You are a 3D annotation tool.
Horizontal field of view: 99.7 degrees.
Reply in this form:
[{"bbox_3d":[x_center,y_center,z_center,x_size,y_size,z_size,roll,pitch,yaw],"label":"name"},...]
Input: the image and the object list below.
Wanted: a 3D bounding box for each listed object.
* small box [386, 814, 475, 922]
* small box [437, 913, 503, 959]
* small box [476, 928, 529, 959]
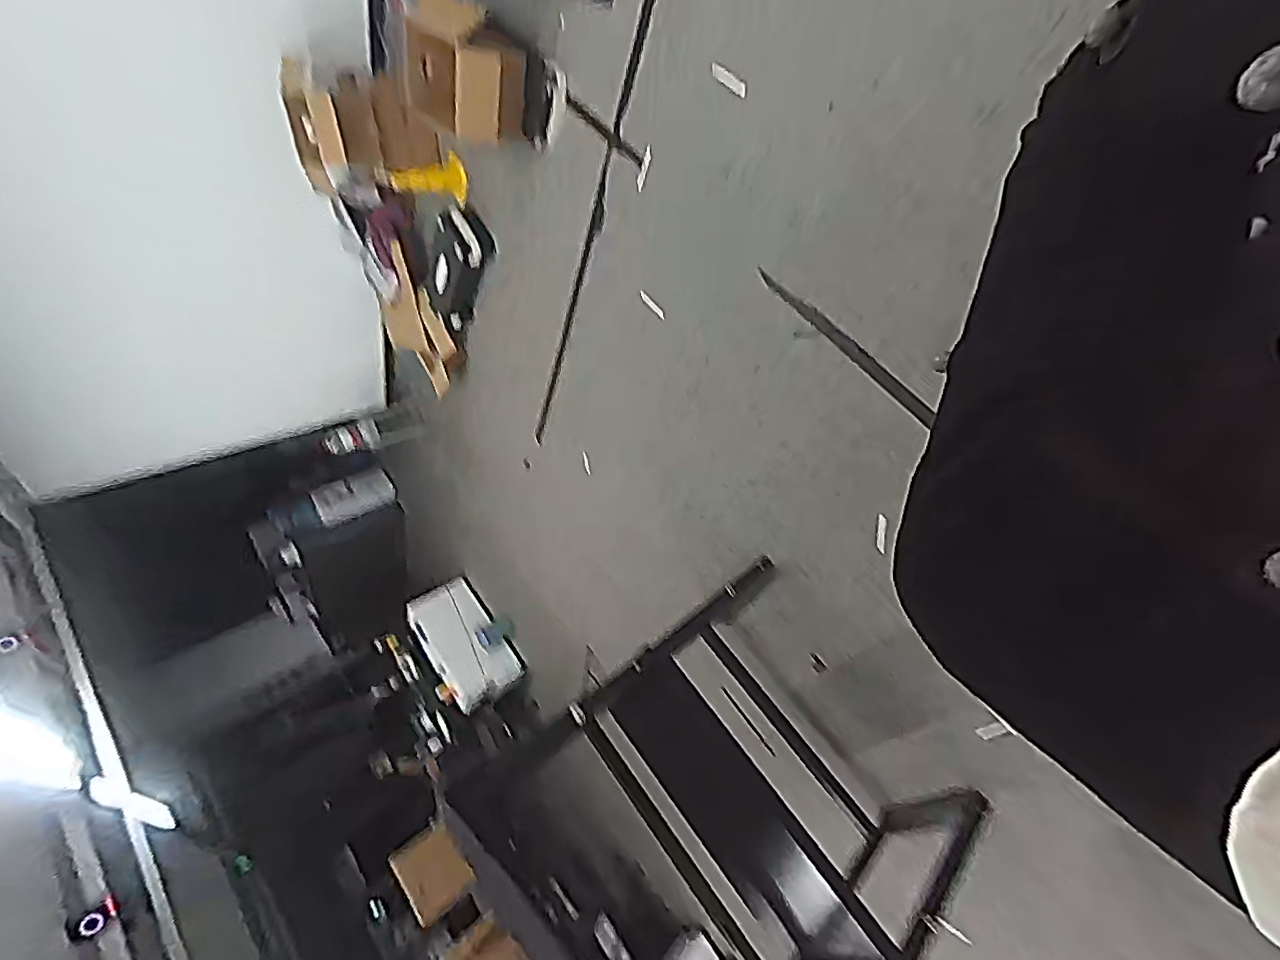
[{"bbox_3d":[-0.563,1.037,1.459,0.168,0.176,0.179,51,142,14],"label":"small box"},{"bbox_3d":[-0.457,1.390,1.548,0.179,0.176,0.168,51,142,17],"label":"small box"},{"bbox_3d":[-0.362,1.293,1.375,0.168,0.176,0.179,43,139,24],"label":"small box"}]
